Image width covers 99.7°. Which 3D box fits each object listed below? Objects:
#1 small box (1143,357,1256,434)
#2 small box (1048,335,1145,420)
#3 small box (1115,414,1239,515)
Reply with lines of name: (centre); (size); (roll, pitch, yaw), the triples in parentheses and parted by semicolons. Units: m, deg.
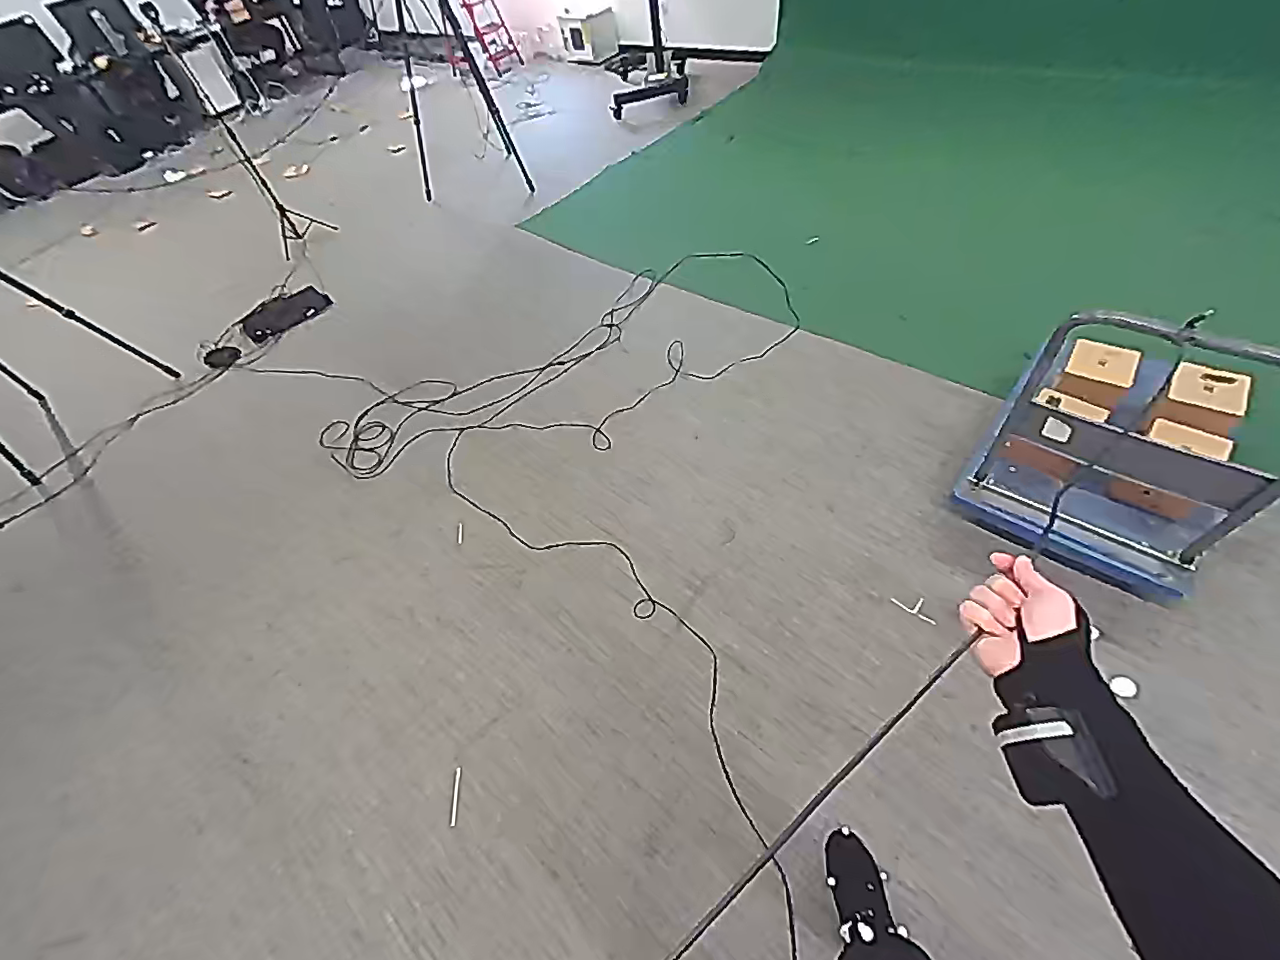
small box: (1.614, -0.221, 1.567); (0.168, 0.176, 0.179); (26, 63, 29)
small box: (1.413, -0.317, 1.685); (0.168, 0.176, 0.179); (26, 62, 27)
small box: (1.442, -0.040, 1.463); (0.168, 0.176, 0.179); (31, 65, 30)
